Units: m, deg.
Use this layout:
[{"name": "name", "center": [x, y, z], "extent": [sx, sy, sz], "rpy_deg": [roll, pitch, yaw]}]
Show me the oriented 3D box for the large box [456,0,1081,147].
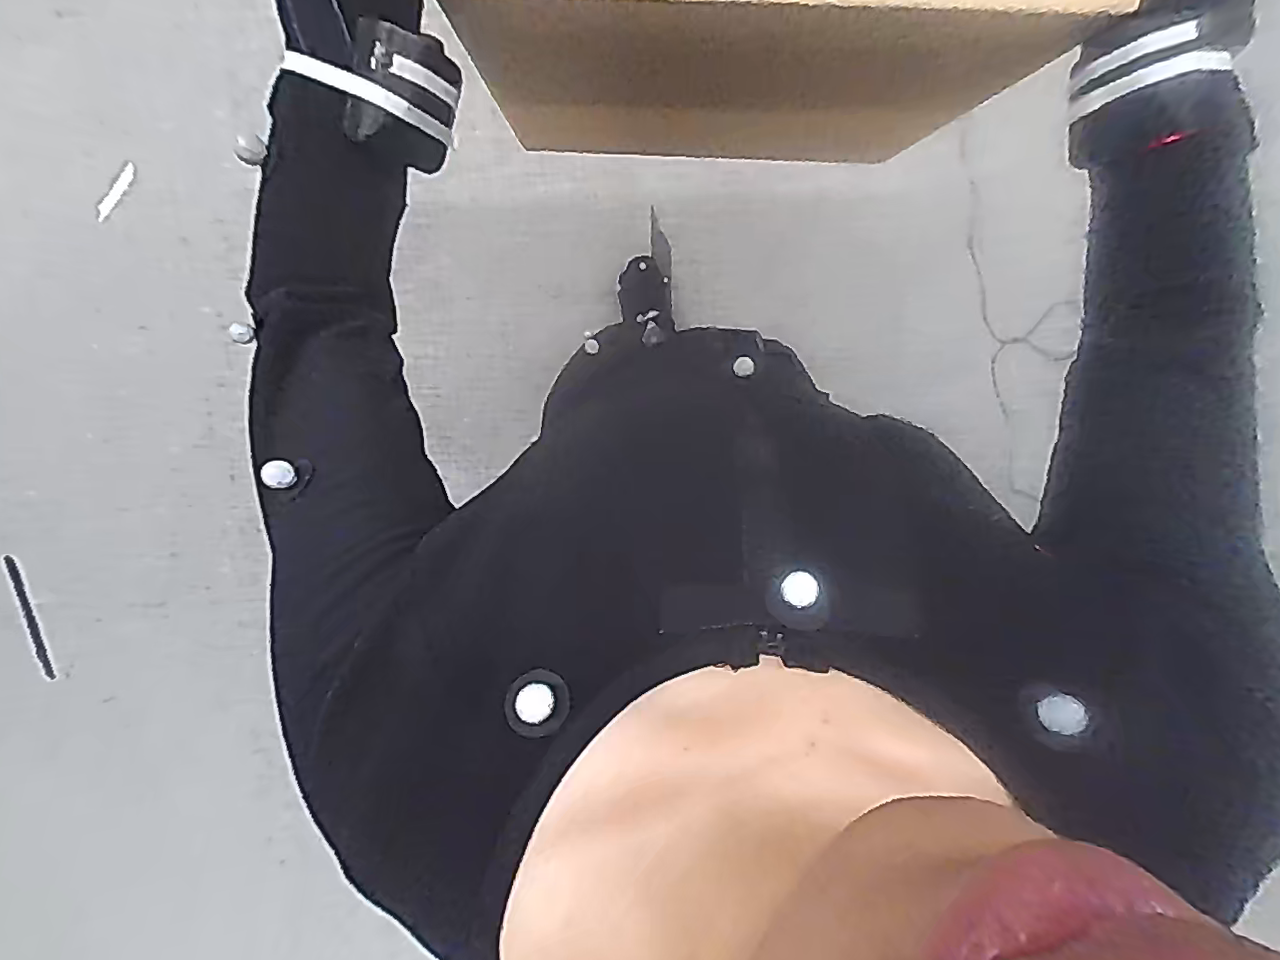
[{"name": "large box", "center": [0.074, -0.474, 0.412], "extent": [0.408, 0.320, 0.320], "rpy_deg": [0, 107, -2]}]
